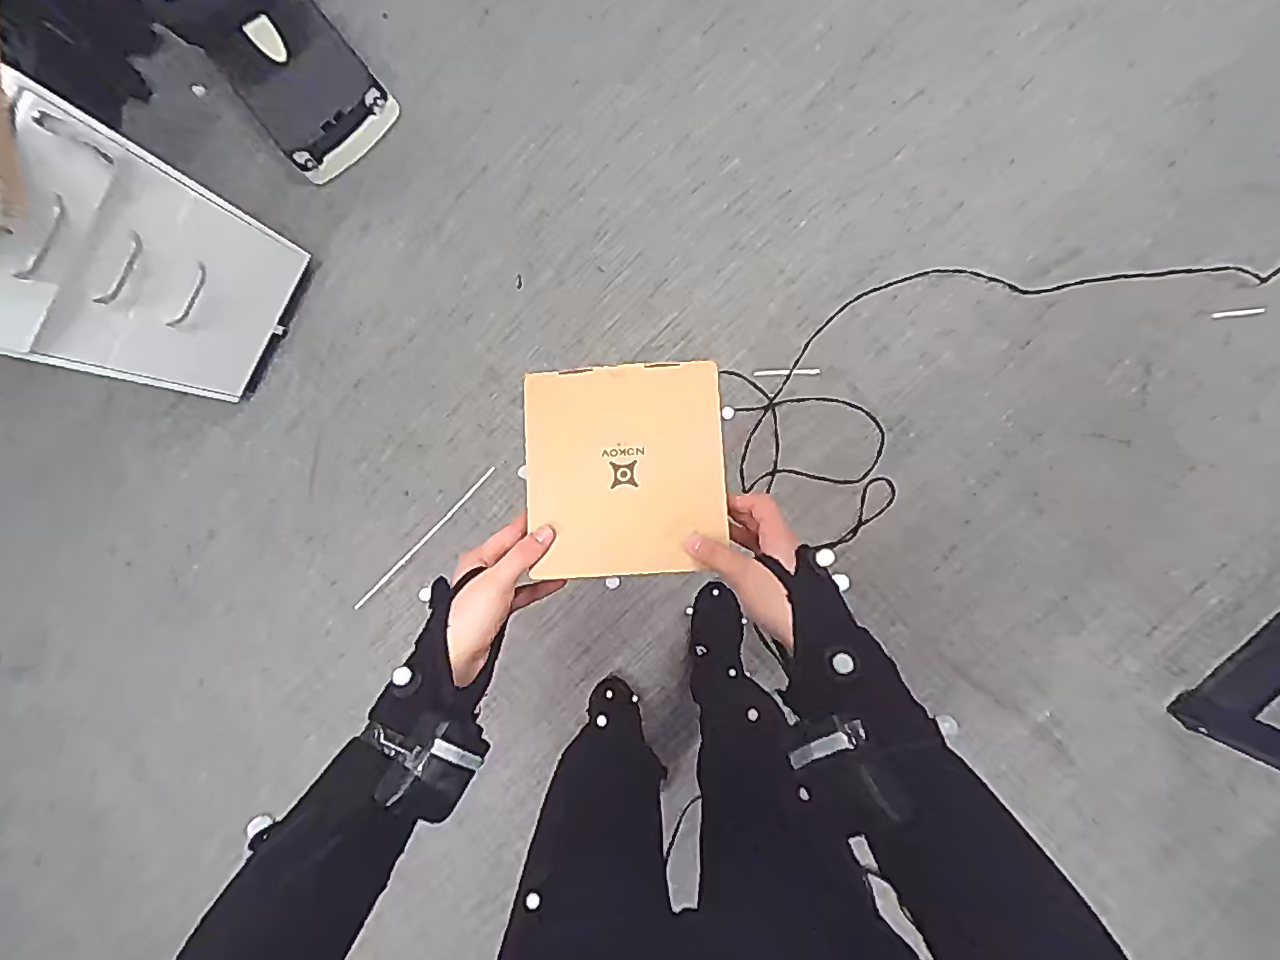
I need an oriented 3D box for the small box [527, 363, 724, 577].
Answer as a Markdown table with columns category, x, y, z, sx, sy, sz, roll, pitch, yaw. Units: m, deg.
| category | x | y | z | sx | sy | sz | roll | pitch | yaw |
| --- | --- | --- | --- | --- | --- | --- | --- | --- | --- |
| small box | -0.008 | 0.000 | 0.536 | 0.168 | 0.176 | 0.179 | -4 | 82 | 4 |
